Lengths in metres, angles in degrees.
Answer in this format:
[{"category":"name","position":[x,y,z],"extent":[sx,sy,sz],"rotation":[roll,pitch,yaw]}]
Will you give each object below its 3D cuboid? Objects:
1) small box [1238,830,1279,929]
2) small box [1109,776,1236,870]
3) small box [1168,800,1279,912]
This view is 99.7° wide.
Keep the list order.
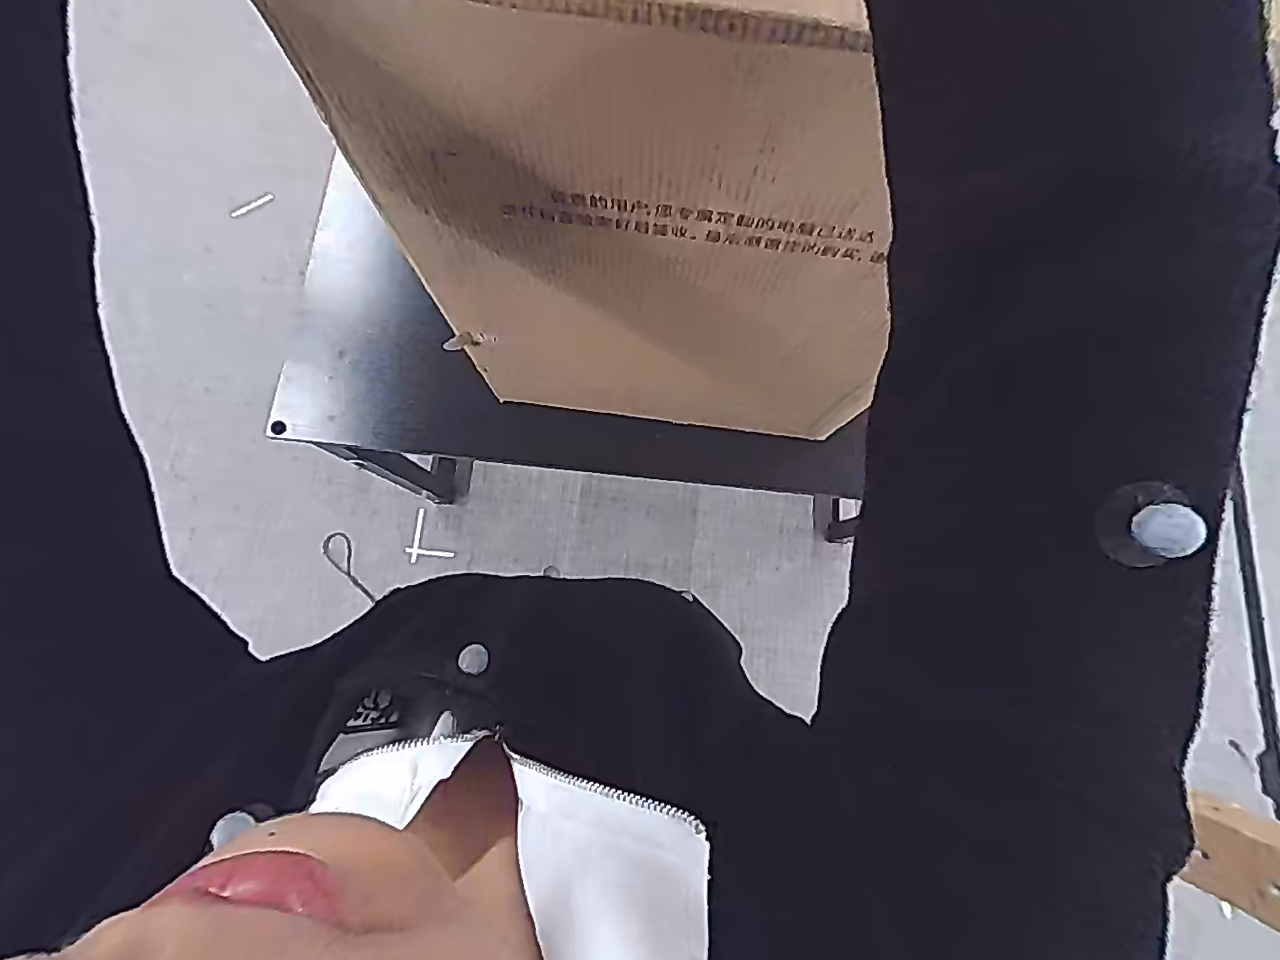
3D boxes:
[{"category":"small box","position":[1.351,0.804,1.052],"extent":[0.179,0.176,0.168],"rotation":[0,77,-2]},{"category":"small box","position":[1.355,0.871,1.376],"extent":[0.179,0.176,0.168],"rotation":[4,77,0]},{"category":"small box","position":[1.345,0.840,1.214],"extent":[0.179,0.176,0.168],"rotation":[5,78,-1]}]
